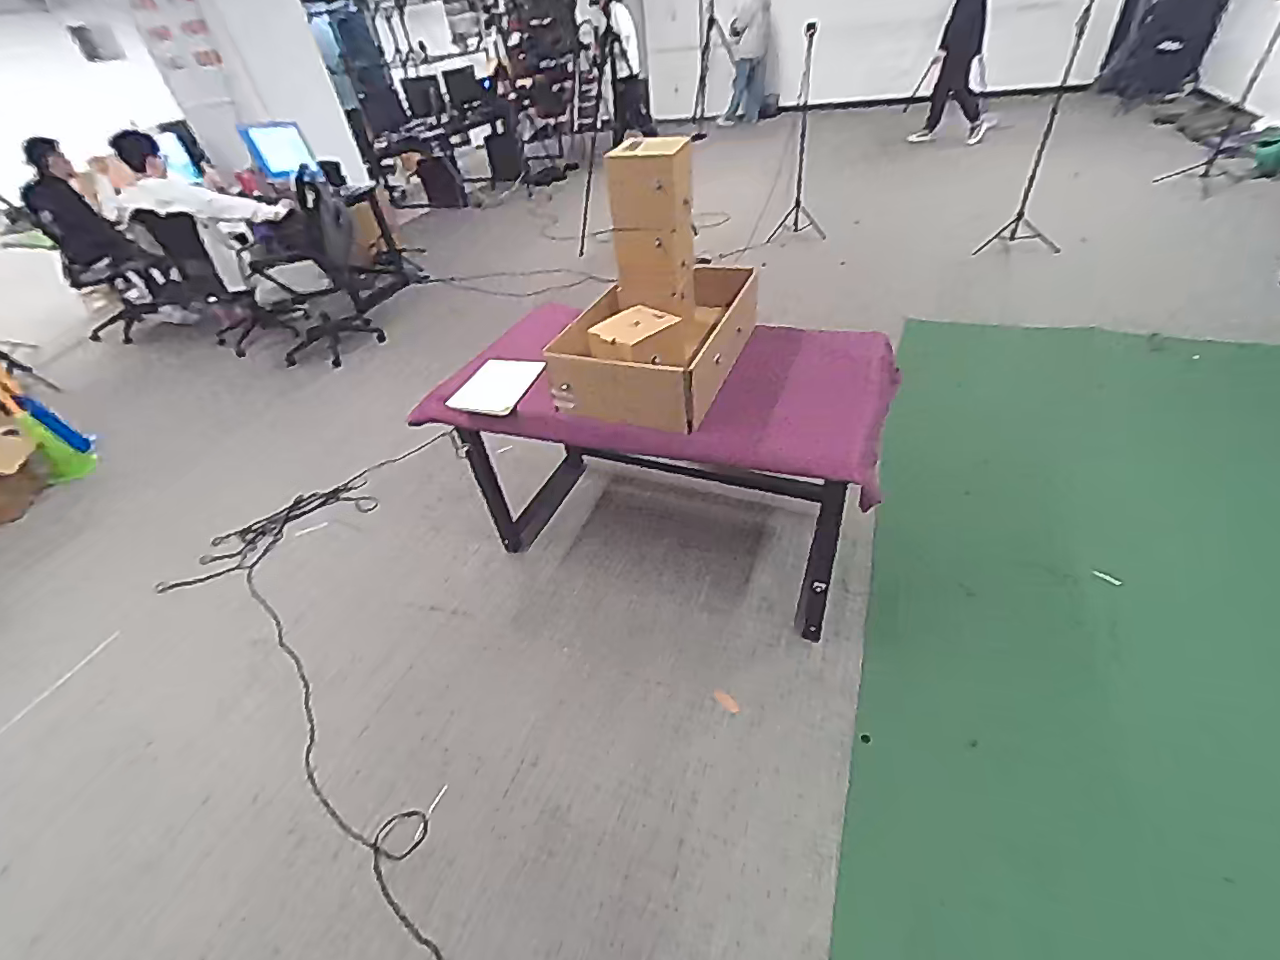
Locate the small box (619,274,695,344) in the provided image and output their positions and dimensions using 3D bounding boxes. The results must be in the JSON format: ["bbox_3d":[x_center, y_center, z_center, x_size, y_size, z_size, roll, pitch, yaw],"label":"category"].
[{"bbox_3d":[0.058,-0.518,1.593,0.168,0.176,0.179,12,47,22],"label":"small box"}]

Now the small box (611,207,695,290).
[{"bbox_3d":[0.043,-0.633,1.481,0.179,0.176,0.168,10,46,20],"label":"small box"}]
